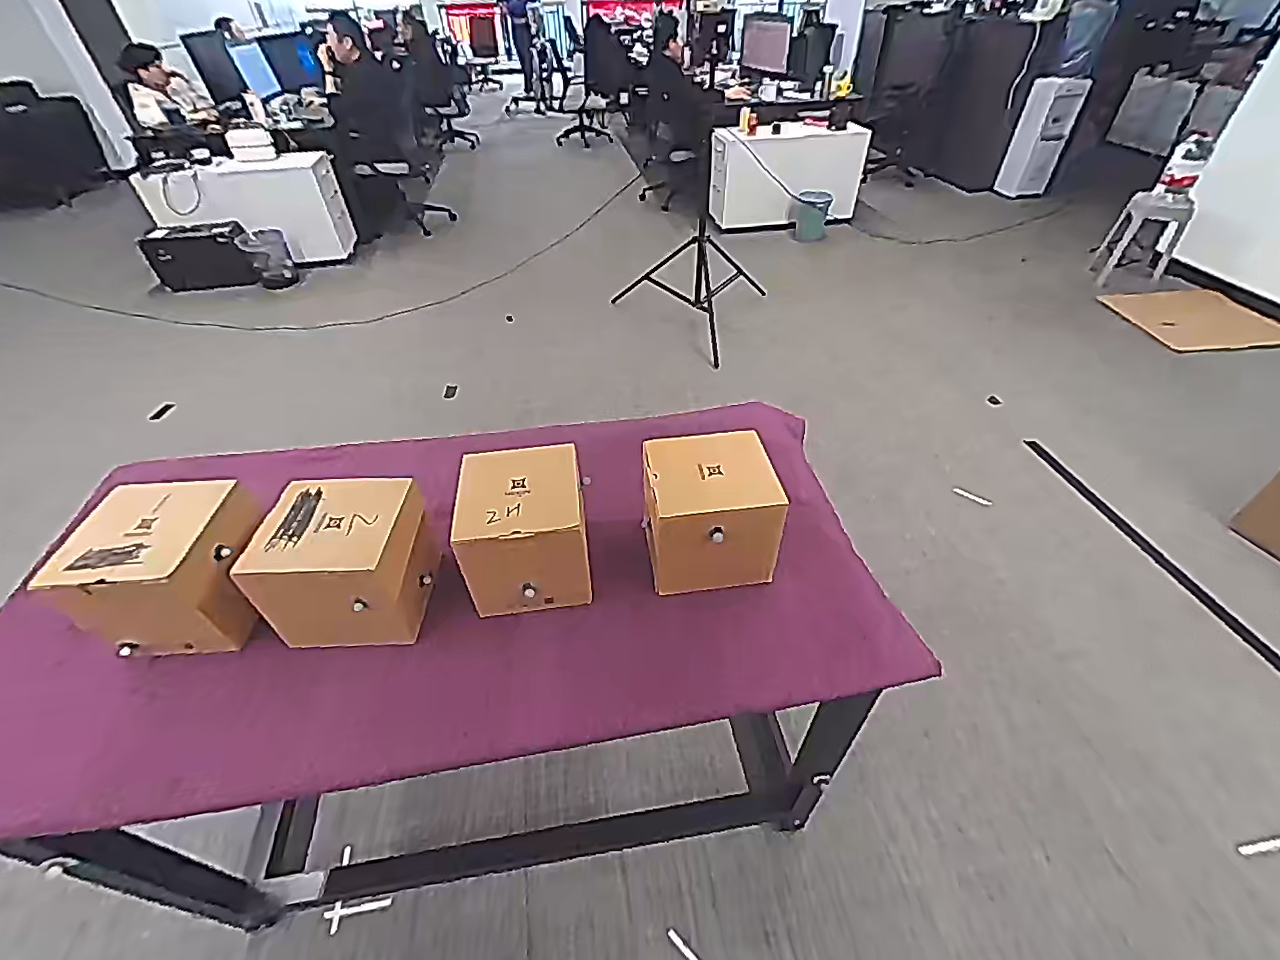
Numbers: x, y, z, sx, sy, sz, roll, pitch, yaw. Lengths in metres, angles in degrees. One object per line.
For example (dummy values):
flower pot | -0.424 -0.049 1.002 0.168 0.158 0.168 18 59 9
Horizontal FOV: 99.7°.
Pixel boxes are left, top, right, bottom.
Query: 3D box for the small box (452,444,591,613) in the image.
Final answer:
small box | -0.165 0.071 0.800 0.168 0.176 0.179 -7 43 -5

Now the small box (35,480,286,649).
small box | -0.638 0.123 0.755 0.168 0.176 0.179 -3 43 -2

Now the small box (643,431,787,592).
small box | 0.100 0.048 0.816 0.179 0.176 0.168 -6 41 -5
